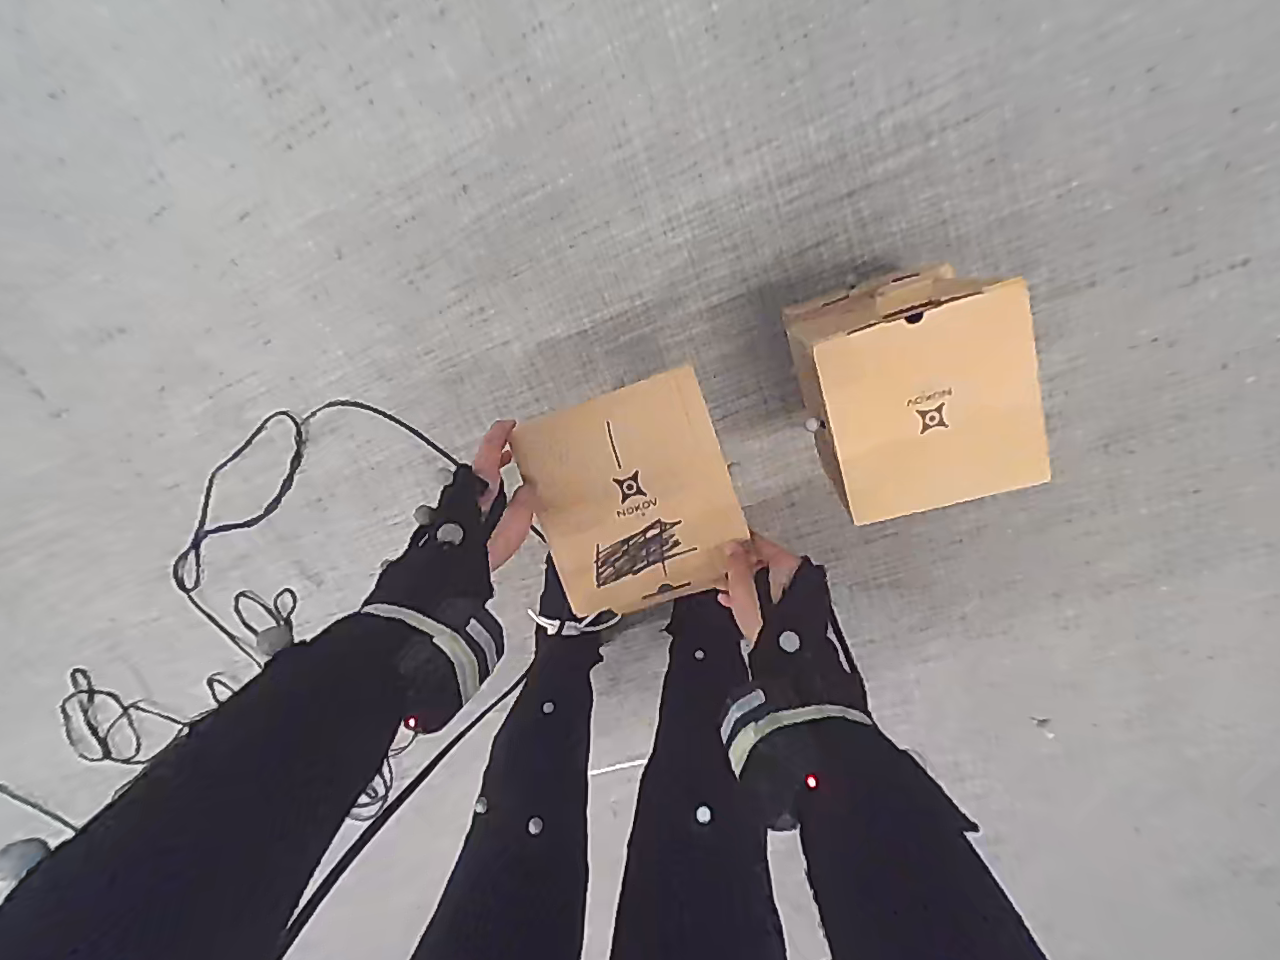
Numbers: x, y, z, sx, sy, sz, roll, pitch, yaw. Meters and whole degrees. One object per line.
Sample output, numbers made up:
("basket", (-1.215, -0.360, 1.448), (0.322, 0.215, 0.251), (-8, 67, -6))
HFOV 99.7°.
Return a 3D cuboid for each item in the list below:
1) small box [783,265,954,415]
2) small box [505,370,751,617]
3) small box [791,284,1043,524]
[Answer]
("small box", (0.286, -0.151, 0.681), (0.168, 0.176, 0.179), (-16, 105, 13))
("small box", (-0.002, 0.002, 0.524), (0.168, 0.176, 0.179), (-18, 98, 7))
("small box", (0.257, -0.082, 0.534), (0.168, 0.176, 0.179), (-15, 106, 13))
